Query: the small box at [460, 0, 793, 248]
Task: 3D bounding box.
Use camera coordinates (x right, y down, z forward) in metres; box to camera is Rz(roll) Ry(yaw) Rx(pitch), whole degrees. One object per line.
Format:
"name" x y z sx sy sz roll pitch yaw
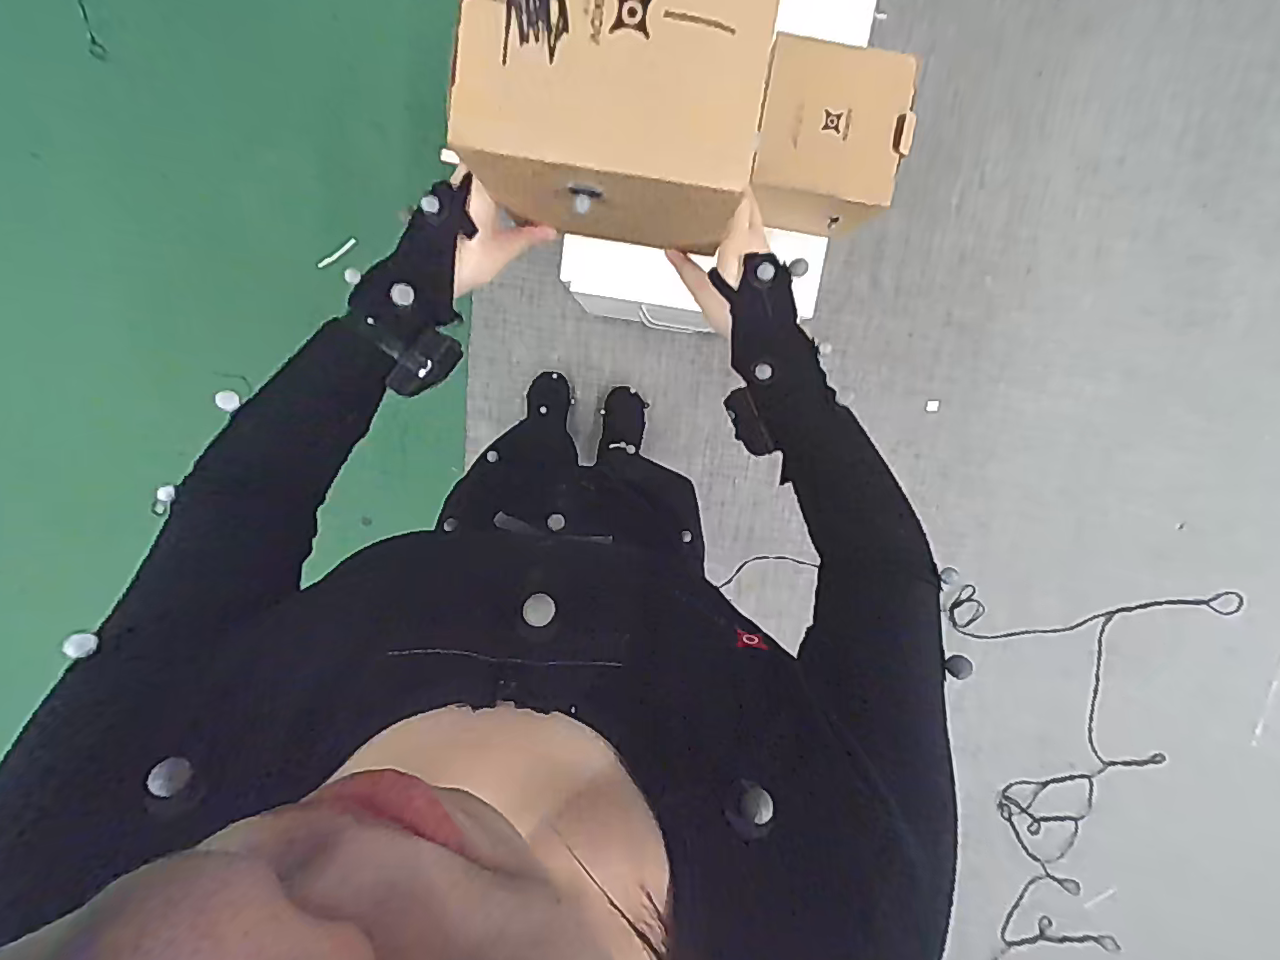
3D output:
"small box" -0.003 -0.274 0.374 0.179 0.176 0.168 9 101 -1

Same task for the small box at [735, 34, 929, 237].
"small box" 0.236 -0.434 0.714 0.179 0.176 0.168 9 101 -1
